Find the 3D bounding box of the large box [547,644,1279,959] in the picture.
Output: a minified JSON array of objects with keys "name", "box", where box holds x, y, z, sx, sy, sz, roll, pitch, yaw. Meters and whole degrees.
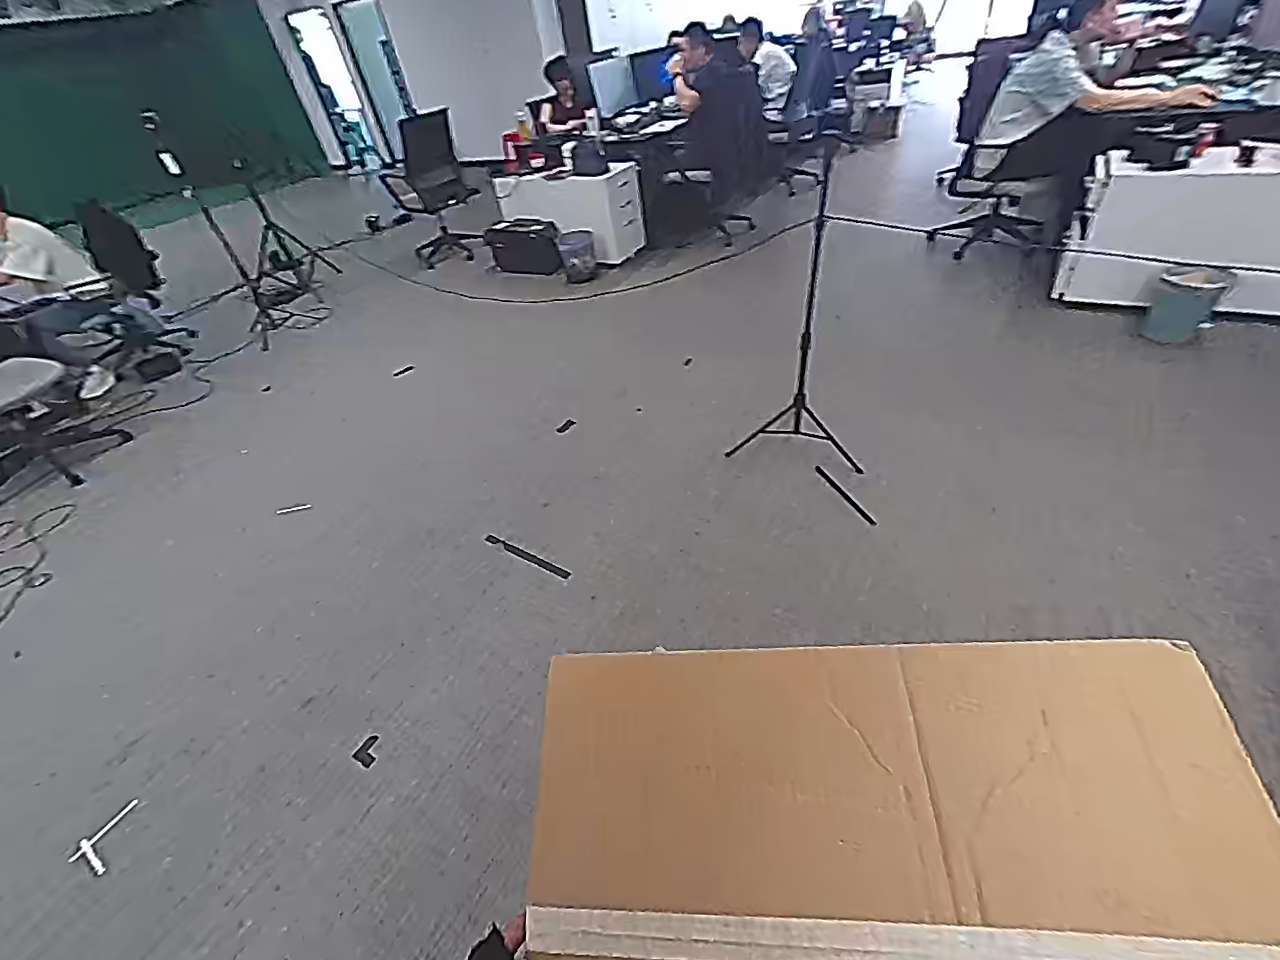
[{"name":"large box","box":[0.165,0.328,0.423,0.408,0.320,0.320,-5,60,10]}]
